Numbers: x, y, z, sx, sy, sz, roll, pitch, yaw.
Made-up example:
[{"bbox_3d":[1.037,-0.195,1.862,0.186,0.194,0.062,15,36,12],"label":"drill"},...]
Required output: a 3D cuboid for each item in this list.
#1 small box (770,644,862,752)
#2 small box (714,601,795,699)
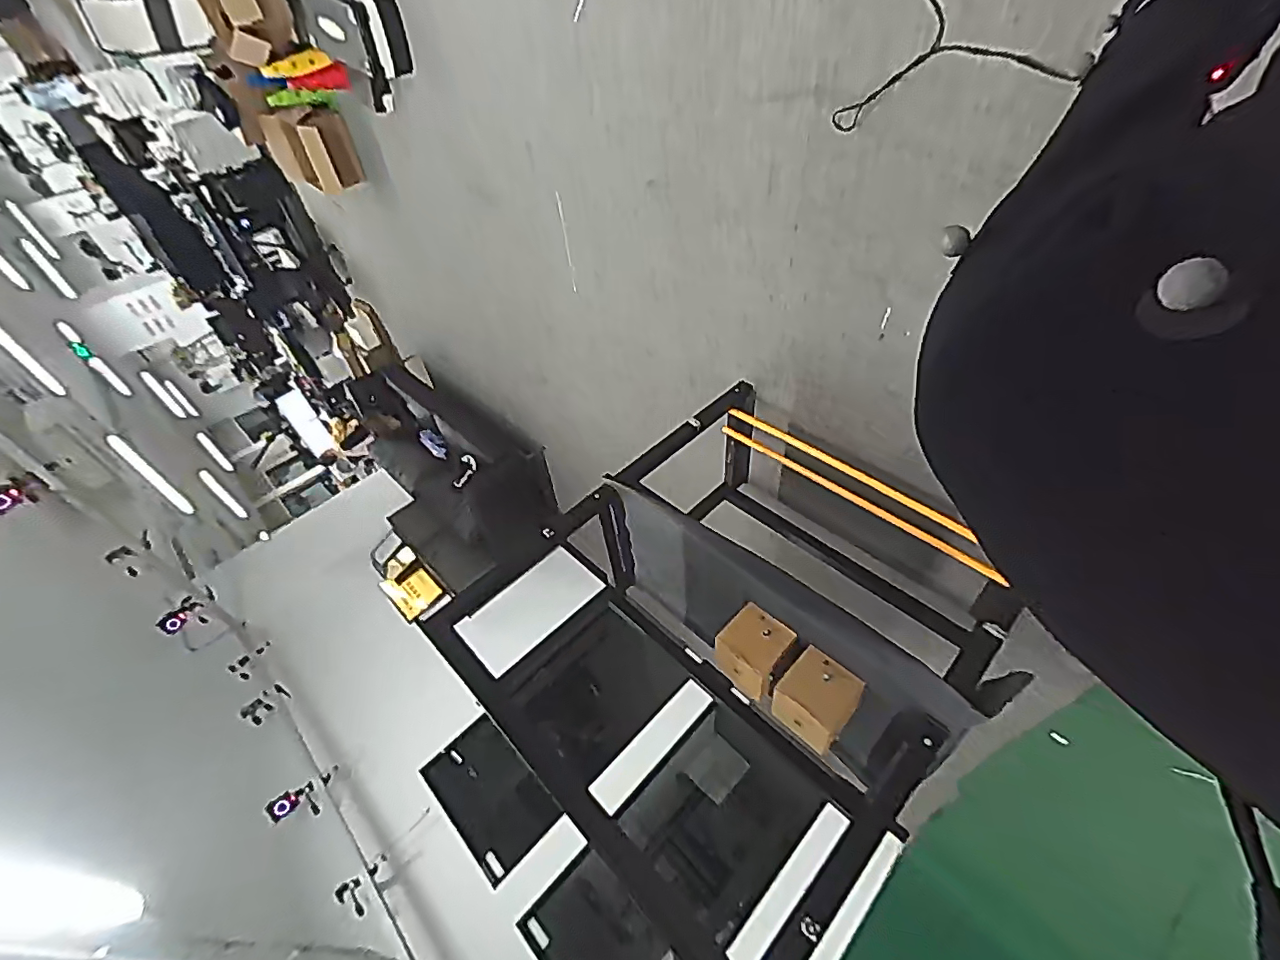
[{"bbox_3d":[0.471,0.582,1.452,0.168,0.176,0.179,33,148,34],"label":"small box"},{"bbox_3d":[0.331,0.490,1.568,0.168,0.176,0.179,32,148,33],"label":"small box"}]
